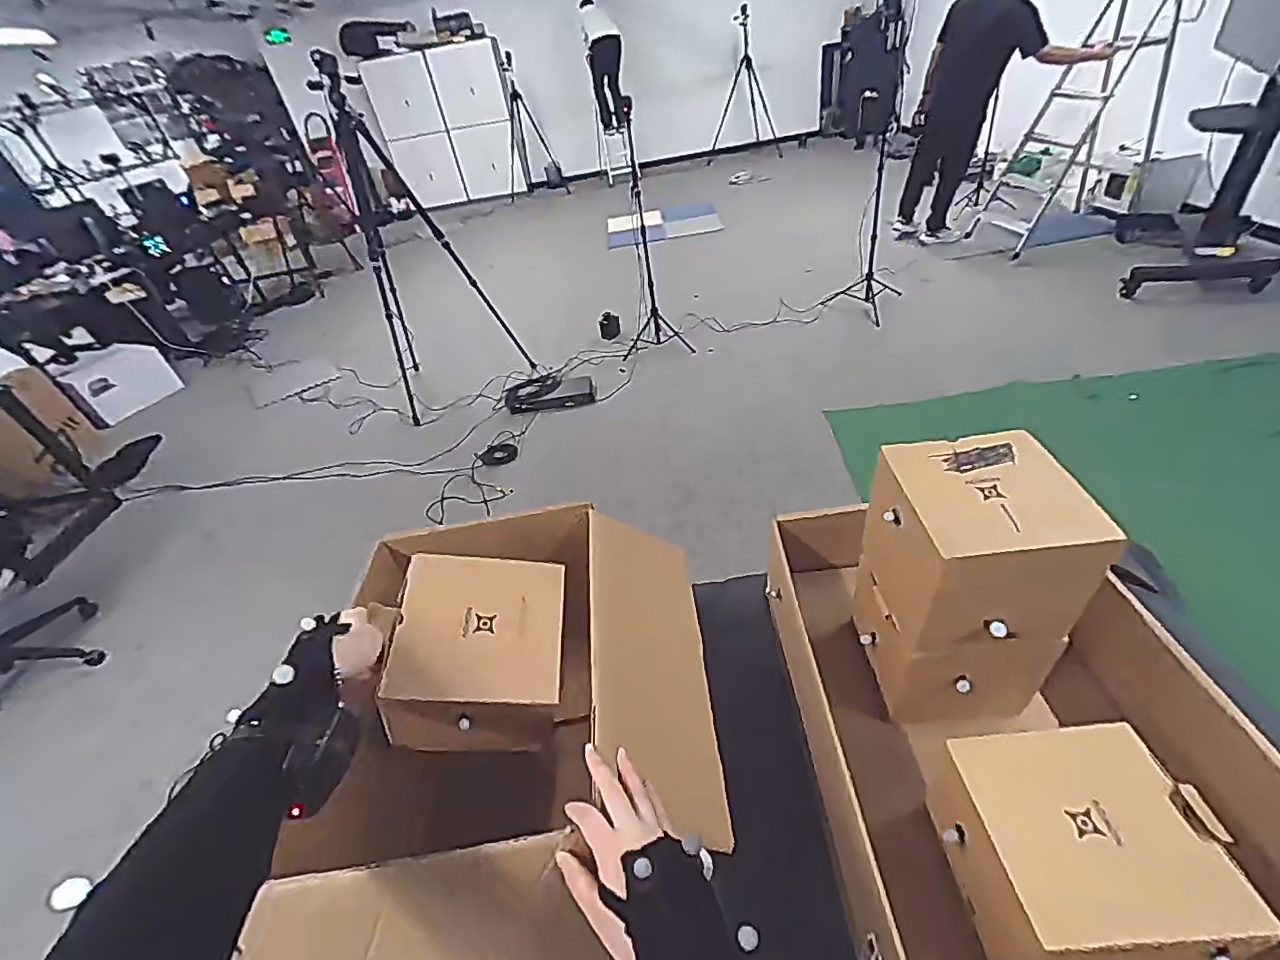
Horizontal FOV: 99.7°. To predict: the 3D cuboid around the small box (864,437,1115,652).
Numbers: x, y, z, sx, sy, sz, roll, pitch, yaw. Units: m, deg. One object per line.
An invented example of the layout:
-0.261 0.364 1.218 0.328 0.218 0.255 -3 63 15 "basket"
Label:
0.373 0.074 0.625 0.168 0.176 0.179 -7 41 5 "small box"
